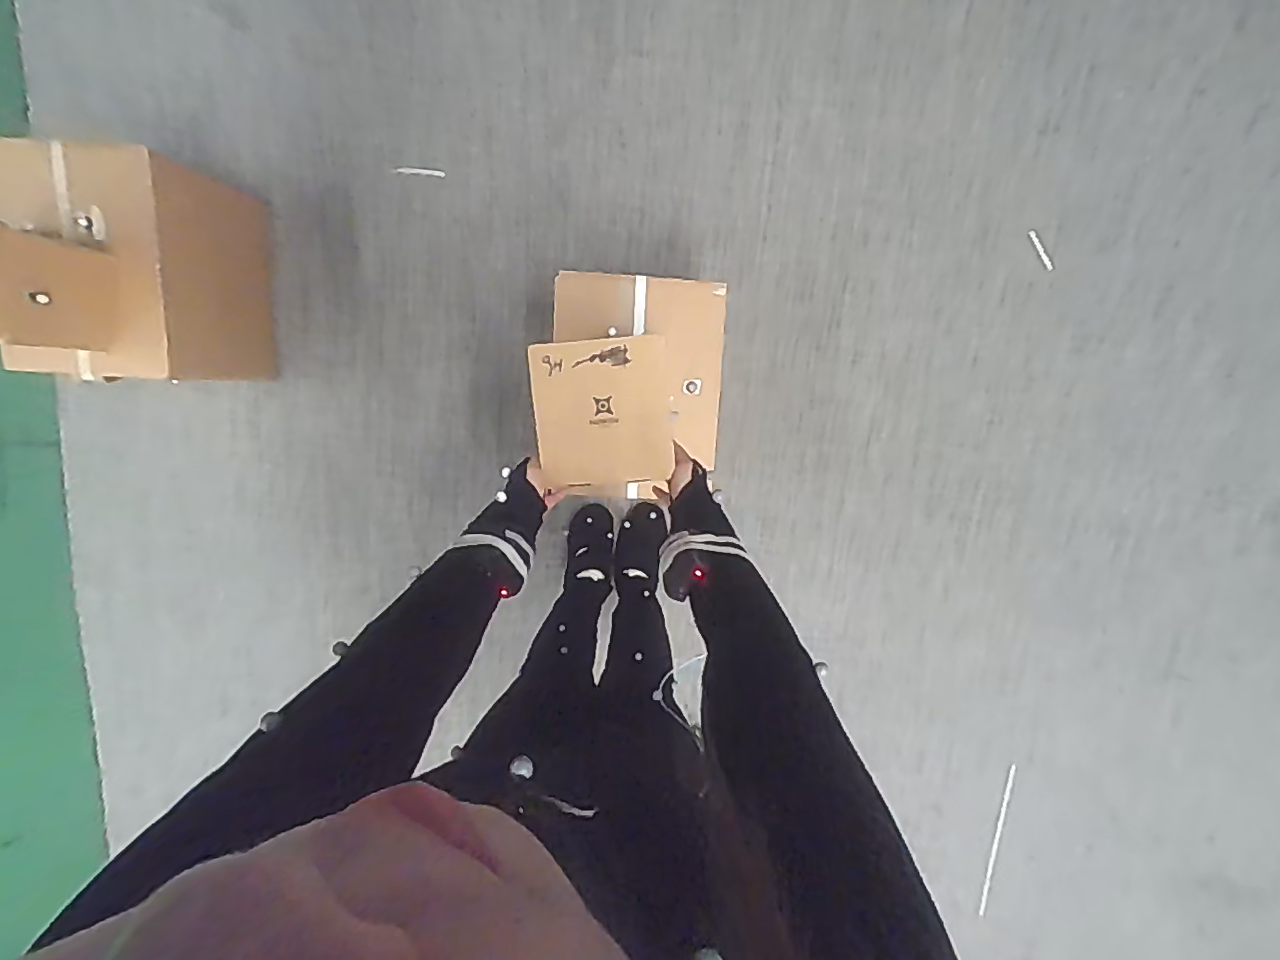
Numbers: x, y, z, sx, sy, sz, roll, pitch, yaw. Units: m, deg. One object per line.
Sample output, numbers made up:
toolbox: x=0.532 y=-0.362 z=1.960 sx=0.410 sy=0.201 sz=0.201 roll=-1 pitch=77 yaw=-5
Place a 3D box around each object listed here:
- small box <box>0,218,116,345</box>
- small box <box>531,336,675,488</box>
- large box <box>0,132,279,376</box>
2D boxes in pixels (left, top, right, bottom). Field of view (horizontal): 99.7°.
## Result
small box: x=-1.018 y=-0.329 z=0.885 sx=0.168 sy=0.176 sz=0.179 roll=15 pitch=101 yaw=-2
small box: x=-0.040 y=-0.095 z=0.722 sx=0.168 sy=0.176 sz=0.179 roll=-4 pitch=101 yaw=2
large box: x=-1.005 y=-0.425 z=1.113 sx=0.320 sy=0.320 sz=0.408 roll=4 pitch=100 yaw=0
